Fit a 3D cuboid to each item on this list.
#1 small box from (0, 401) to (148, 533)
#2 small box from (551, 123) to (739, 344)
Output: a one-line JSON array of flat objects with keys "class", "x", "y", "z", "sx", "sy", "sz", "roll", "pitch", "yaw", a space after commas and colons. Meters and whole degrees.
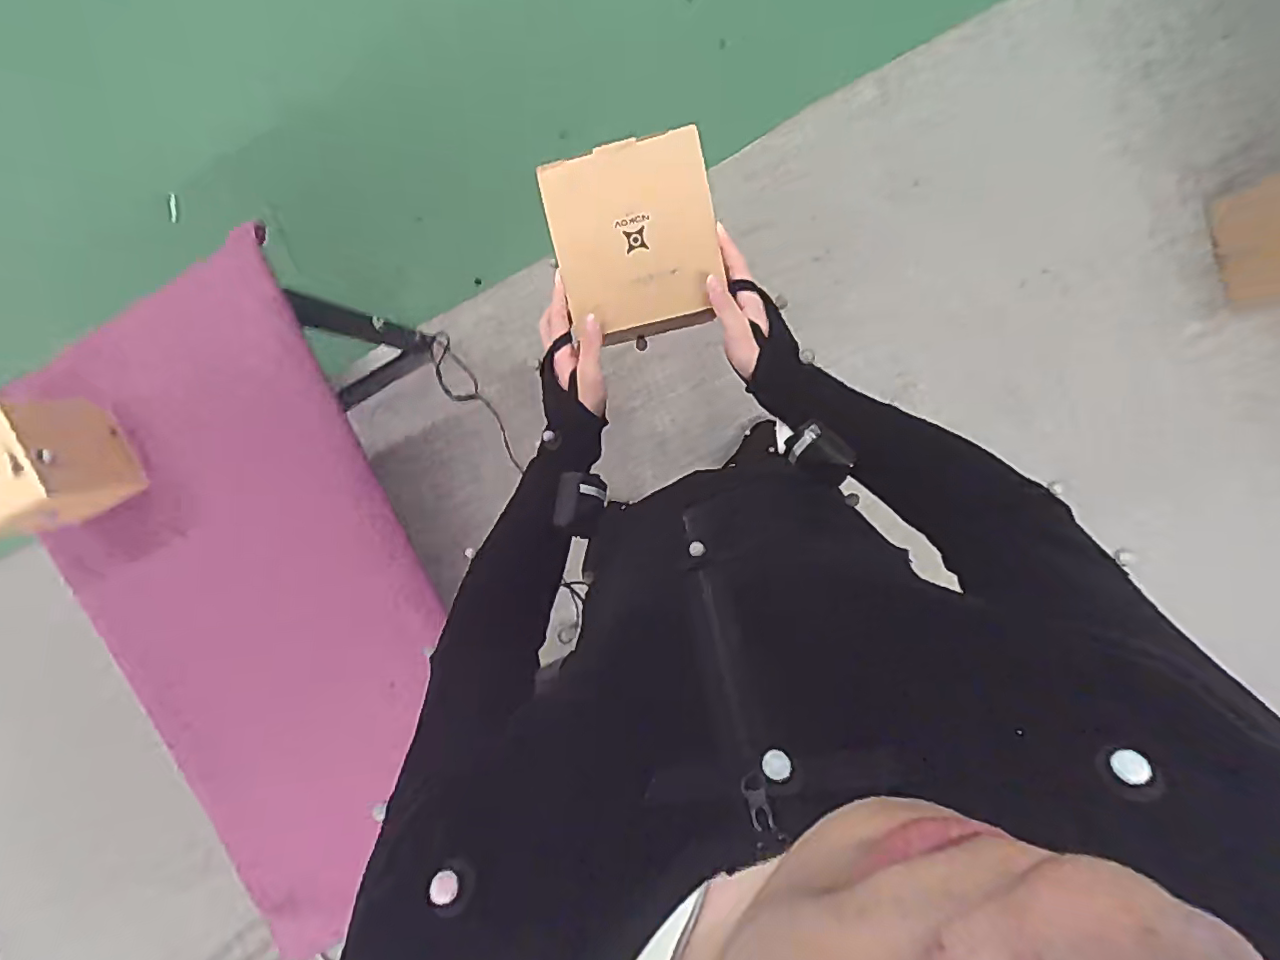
[{"class": "small box", "x": -1.008, "y": -0.021, "z": 0.914, "sx": 0.179, "sy": 0.176, "sz": 0.168, "roll": -25, "pitch": 94, "yaw": 8}, {"class": "small box", "x": 0.008, "y": -0.264, "z": 0.622, "sx": 0.168, "sy": 0.176, "sz": 0.179, "roll": -11, "pitch": 100, "yaw": 4}]
